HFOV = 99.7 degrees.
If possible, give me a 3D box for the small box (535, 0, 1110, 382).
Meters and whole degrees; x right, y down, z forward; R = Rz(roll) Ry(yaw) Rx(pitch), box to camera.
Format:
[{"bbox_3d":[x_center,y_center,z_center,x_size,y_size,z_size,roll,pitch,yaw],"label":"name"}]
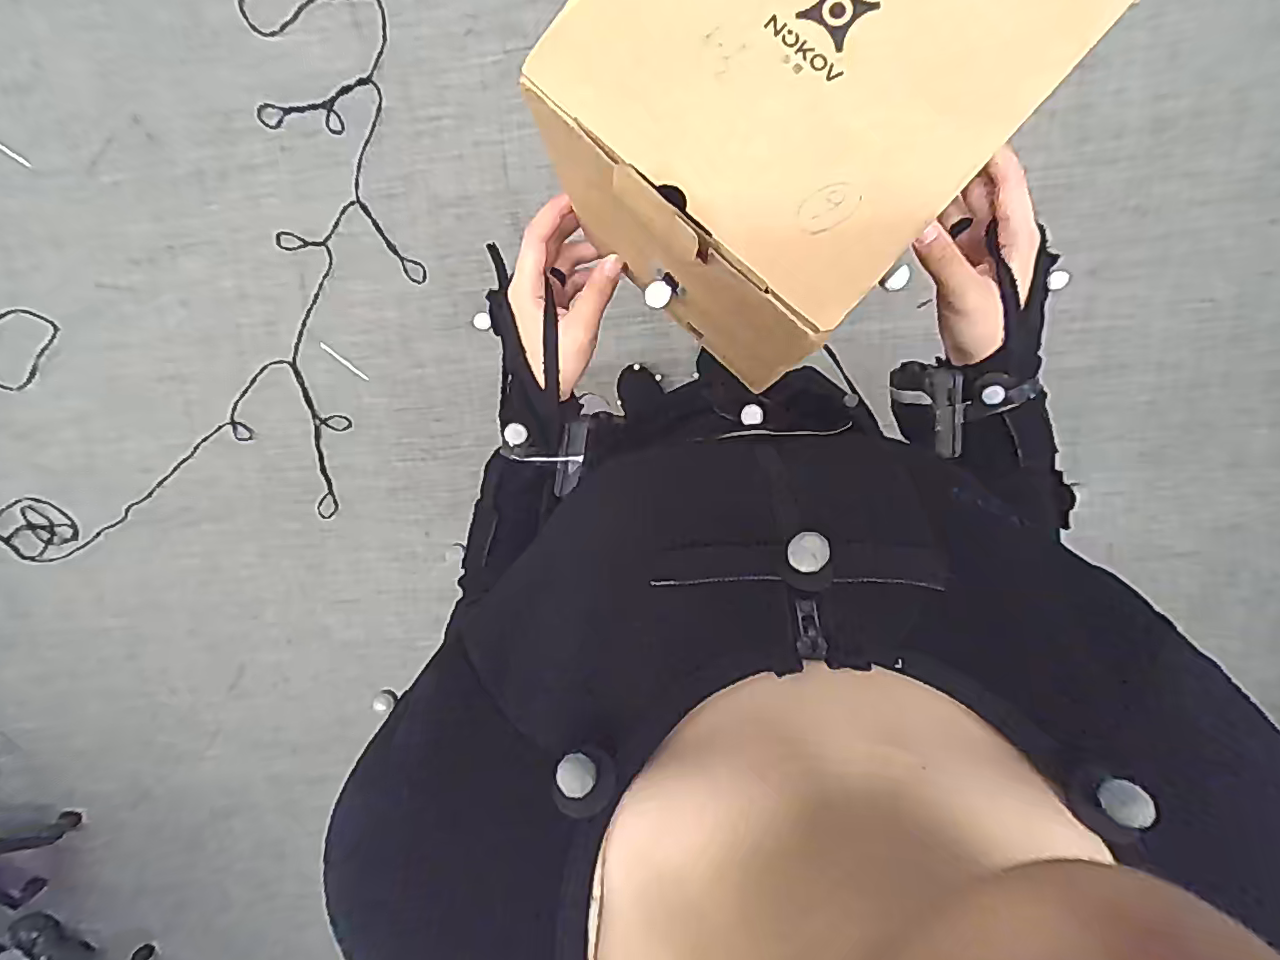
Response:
[{"bbox_3d":[0.076,-0.175,0.301,0.168,0.176,0.179,42,95,2],"label":"small box"}]
